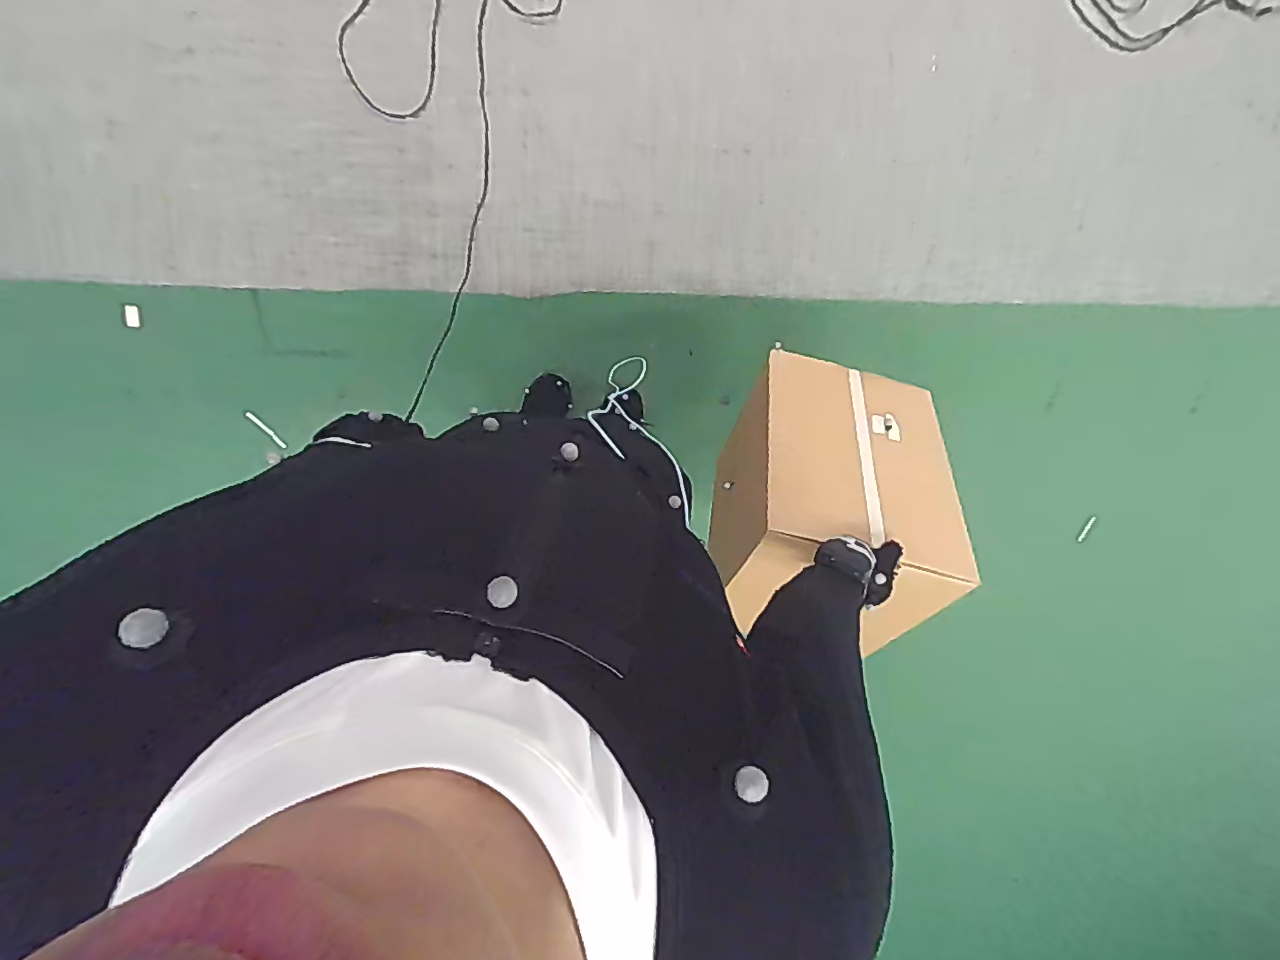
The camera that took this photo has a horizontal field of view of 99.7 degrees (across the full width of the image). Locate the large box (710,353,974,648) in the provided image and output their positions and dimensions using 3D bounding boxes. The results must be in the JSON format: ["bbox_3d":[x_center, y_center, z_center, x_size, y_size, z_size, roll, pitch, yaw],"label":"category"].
[{"bbox_3d":[0.326,0.041,0.993,0.320,0.408,0.320,15,141,-4],"label":"large box"}]
